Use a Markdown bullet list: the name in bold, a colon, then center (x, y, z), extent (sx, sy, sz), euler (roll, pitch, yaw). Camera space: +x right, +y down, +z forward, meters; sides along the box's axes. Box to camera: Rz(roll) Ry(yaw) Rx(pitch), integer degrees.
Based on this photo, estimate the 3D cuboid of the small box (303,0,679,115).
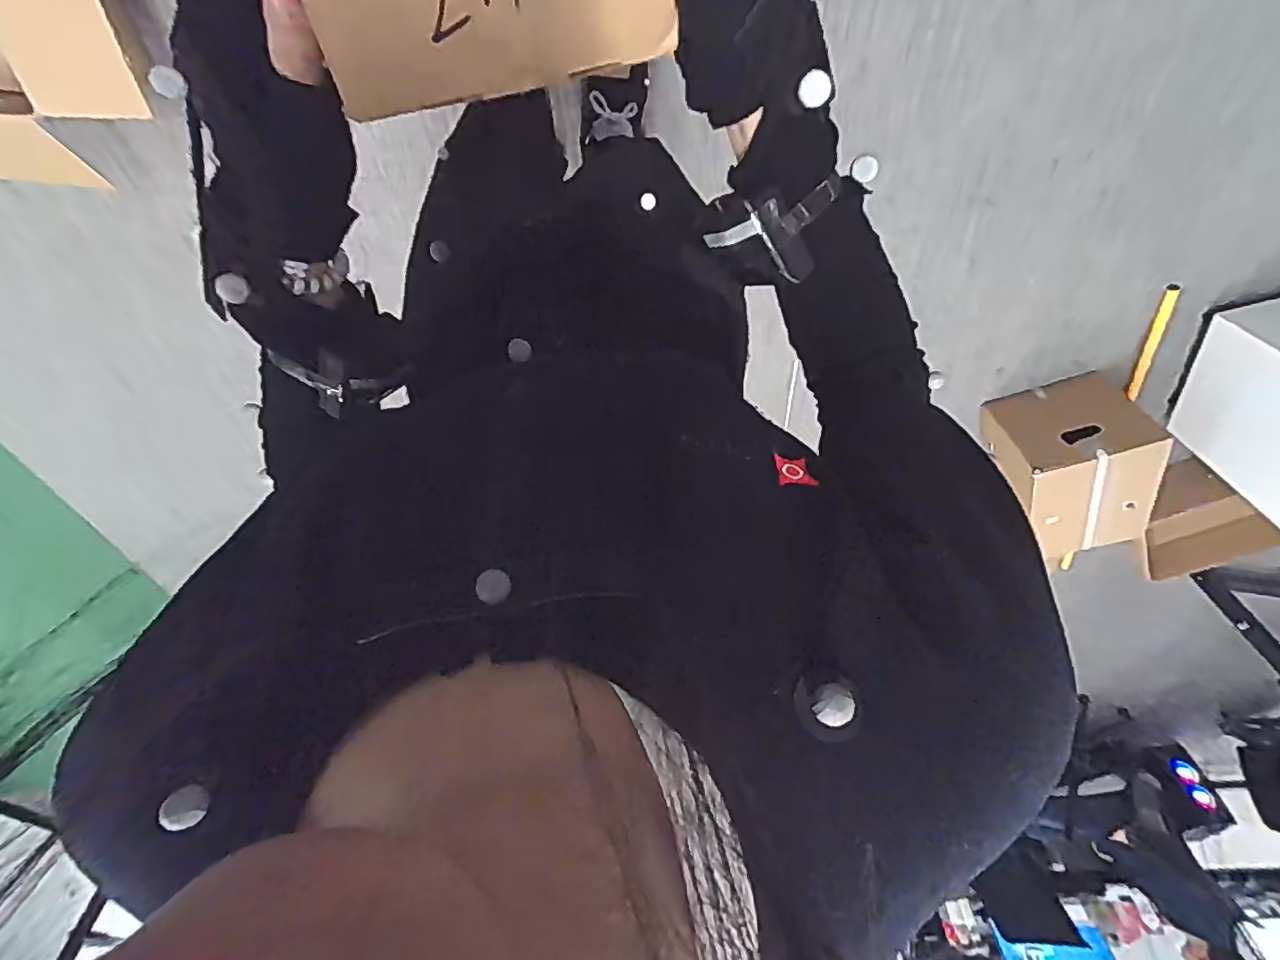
- **small box**: center (-0.089, -0.297, 0.224), extent (0.168, 0.176, 0.179), euler (-23, 152, -14)
